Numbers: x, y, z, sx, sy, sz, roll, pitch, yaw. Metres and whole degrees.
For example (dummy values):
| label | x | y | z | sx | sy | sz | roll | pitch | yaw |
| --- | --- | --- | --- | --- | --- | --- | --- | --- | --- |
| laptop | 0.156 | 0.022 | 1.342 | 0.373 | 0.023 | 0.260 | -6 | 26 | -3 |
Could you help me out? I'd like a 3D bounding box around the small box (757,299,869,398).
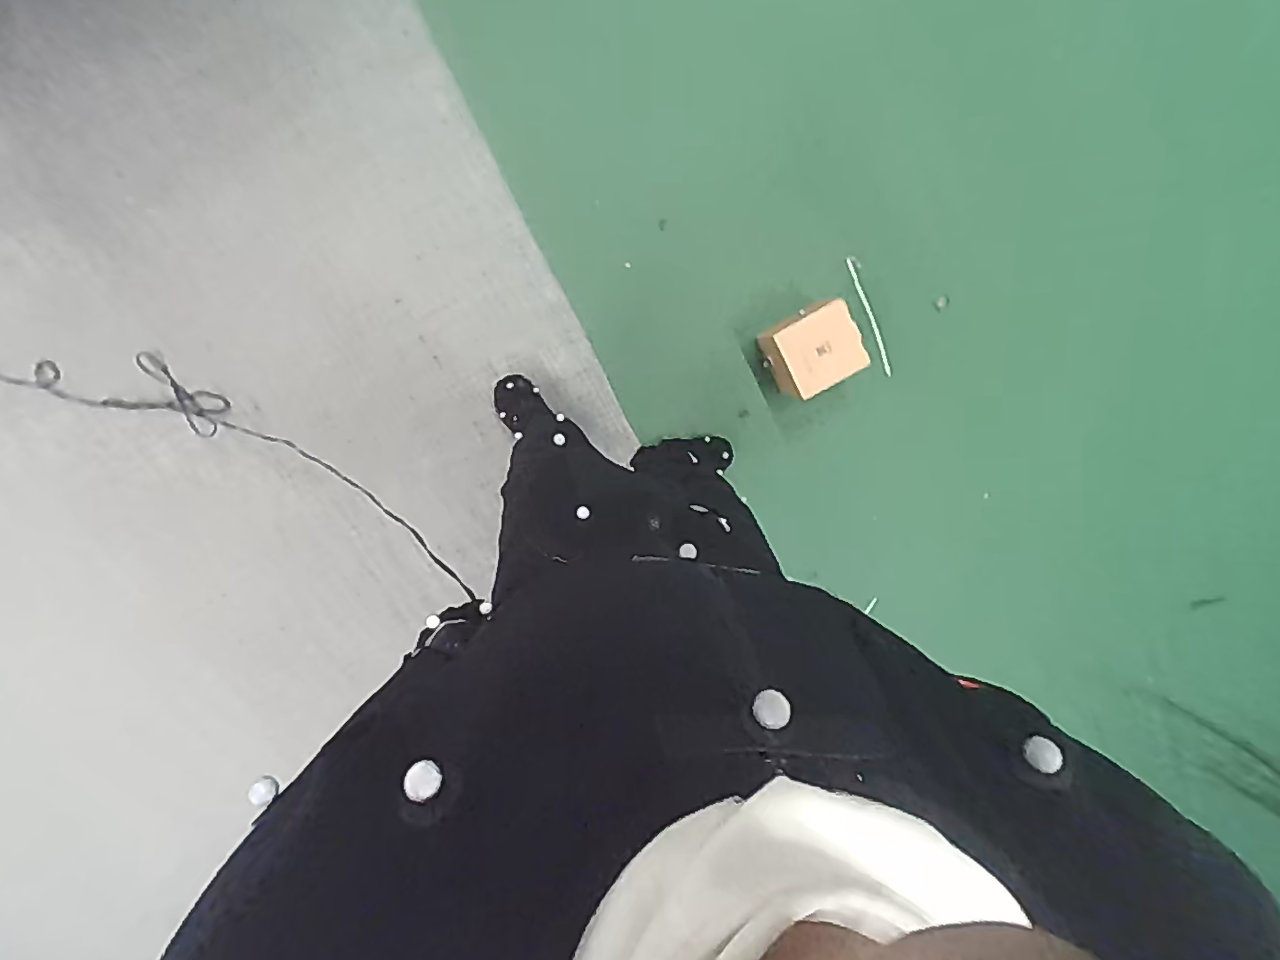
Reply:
| label | x | y | z | sx | sy | sz | roll | pitch | yaw |
| --- | --- | --- | --- | --- | --- | --- | --- | --- | --- |
| small box | 0.406 | -0.315 | 1.295 | 0.179 | 0.176 | 0.168 | -28 | 103 | 5 |
